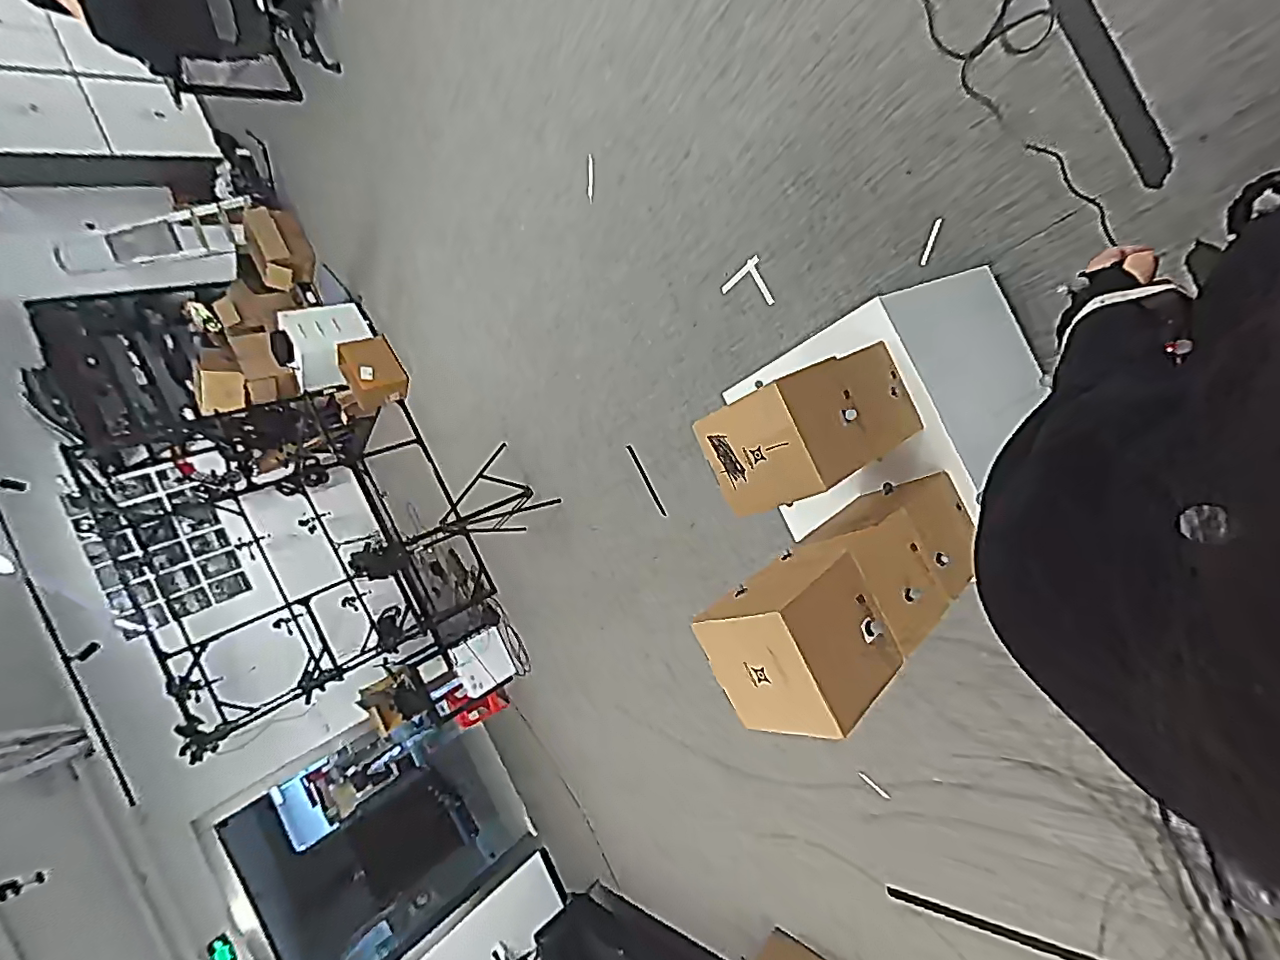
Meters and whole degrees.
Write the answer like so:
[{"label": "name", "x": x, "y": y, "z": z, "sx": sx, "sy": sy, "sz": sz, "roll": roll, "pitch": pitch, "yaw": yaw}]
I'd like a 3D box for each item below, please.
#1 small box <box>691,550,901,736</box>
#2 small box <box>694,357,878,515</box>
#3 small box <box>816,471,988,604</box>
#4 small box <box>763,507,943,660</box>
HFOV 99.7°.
[{"label": "small box", "x": 0.208, "y": 0.213, "z": 0.728, "sx": 0.179, "sy": 0.176, "sz": 0.168, "roll": -30, "pitch": 87, "yaw": 53}, {"label": "small box", "x": 0.220, "y": -0.066, "z": 0.820, "sx": 0.179, "sy": 0.176, "sz": 0.168, "roll": -25, "pitch": 91, "yaw": 52}, {"label": "small box", "x": 0.445, "y": 0.104, "z": 0.920, "sx": 0.179, "sy": 0.176, "sz": 0.168, "roll": -28, "pitch": 89, "yaw": 55}, {"label": "small box", "x": 0.328, "y": 0.158, "z": 0.823, "sx": 0.179, "sy": 0.176, "sz": 0.168, "roll": -30, "pitch": 86, "yaw": 54}]
